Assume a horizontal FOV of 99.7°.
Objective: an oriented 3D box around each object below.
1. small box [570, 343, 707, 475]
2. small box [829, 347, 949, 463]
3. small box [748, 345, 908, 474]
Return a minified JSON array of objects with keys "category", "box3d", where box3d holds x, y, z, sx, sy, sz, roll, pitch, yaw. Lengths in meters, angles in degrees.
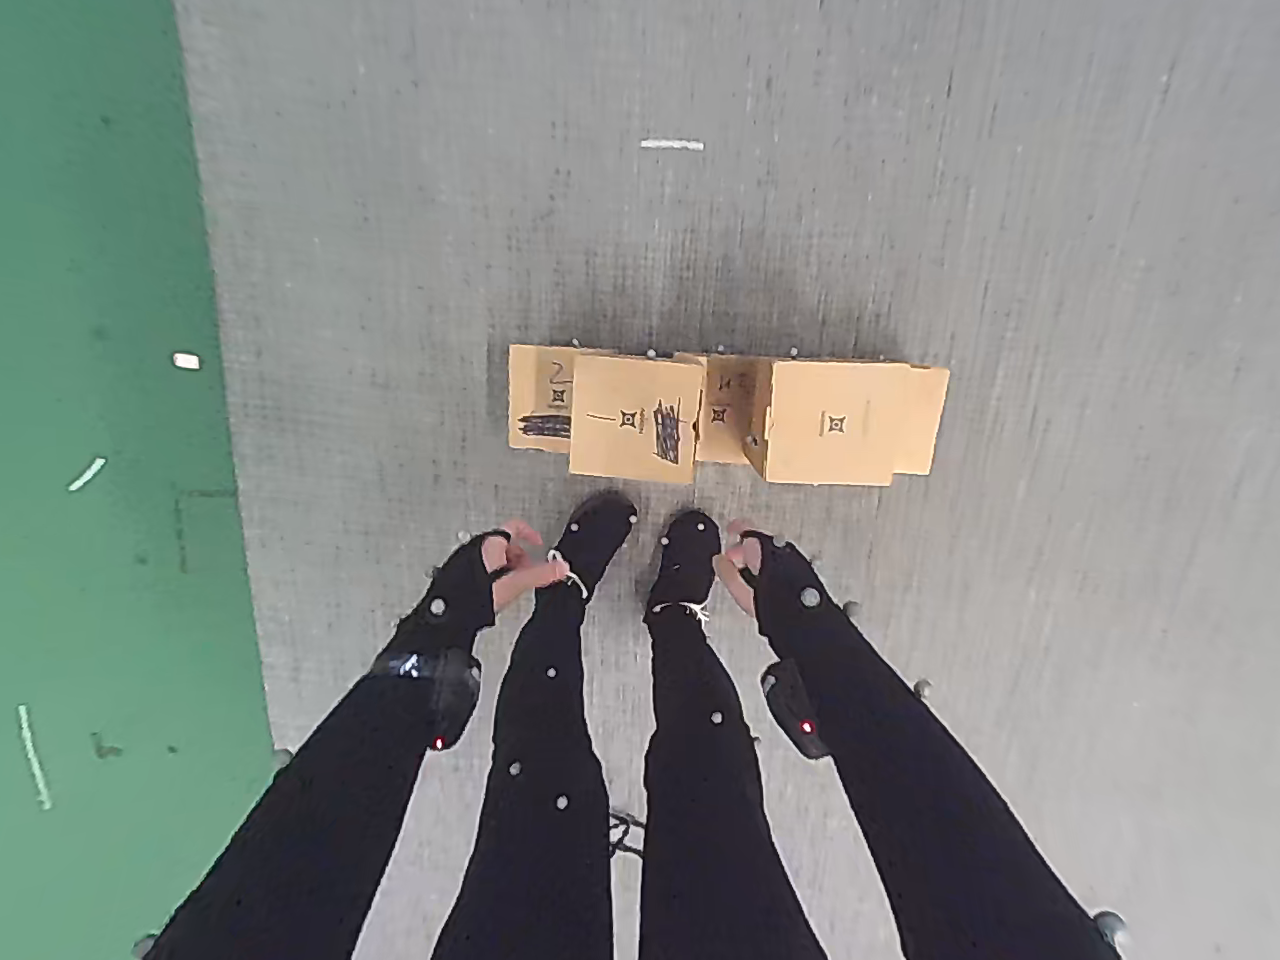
[{"category":"small box","box3d":[0.000,-0.113,0.807,0.179,0.176,0.168,5,105,3]},{"category":"small box","box3d":[0.404,-0.137,0.947,0.168,0.176,0.179,4,105,3]},{"category":"small box","box3d":[0.260,-0.109,0.793,0.179,0.176,0.168,1,106,1]}]
